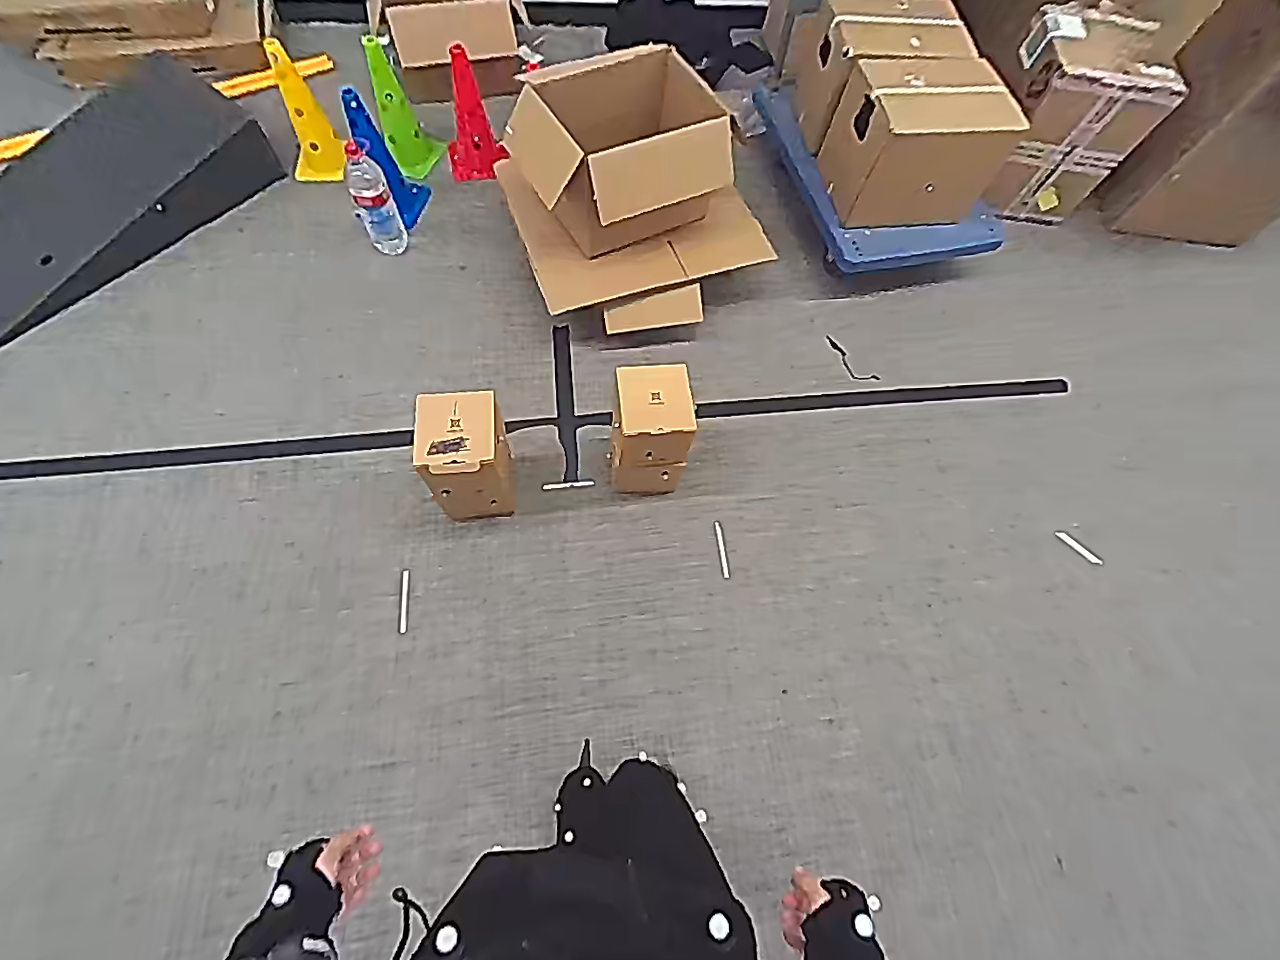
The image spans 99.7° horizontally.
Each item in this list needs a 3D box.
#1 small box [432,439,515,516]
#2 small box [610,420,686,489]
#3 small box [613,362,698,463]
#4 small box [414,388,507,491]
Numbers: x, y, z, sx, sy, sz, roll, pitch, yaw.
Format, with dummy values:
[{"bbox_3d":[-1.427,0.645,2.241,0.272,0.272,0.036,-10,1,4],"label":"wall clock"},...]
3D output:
[{"bbox_3d":[-0.412,-0.019,1.356,0.179,0.176,0.168,-8,67,-7],"label":"small box"},{"bbox_3d":[0.016,-0.082,1.420,0.179,0.176,0.168,0,67,-6],"label":"small box"},{"bbox_3d":[0.028,-0.157,1.276,0.168,0.176,0.179,-5,68,-8],"label":"small box"},{"bbox_3d":[-0.393,-0.083,1.206,0.168,0.176,0.179,-4,66,-7],"label":"small box"}]
